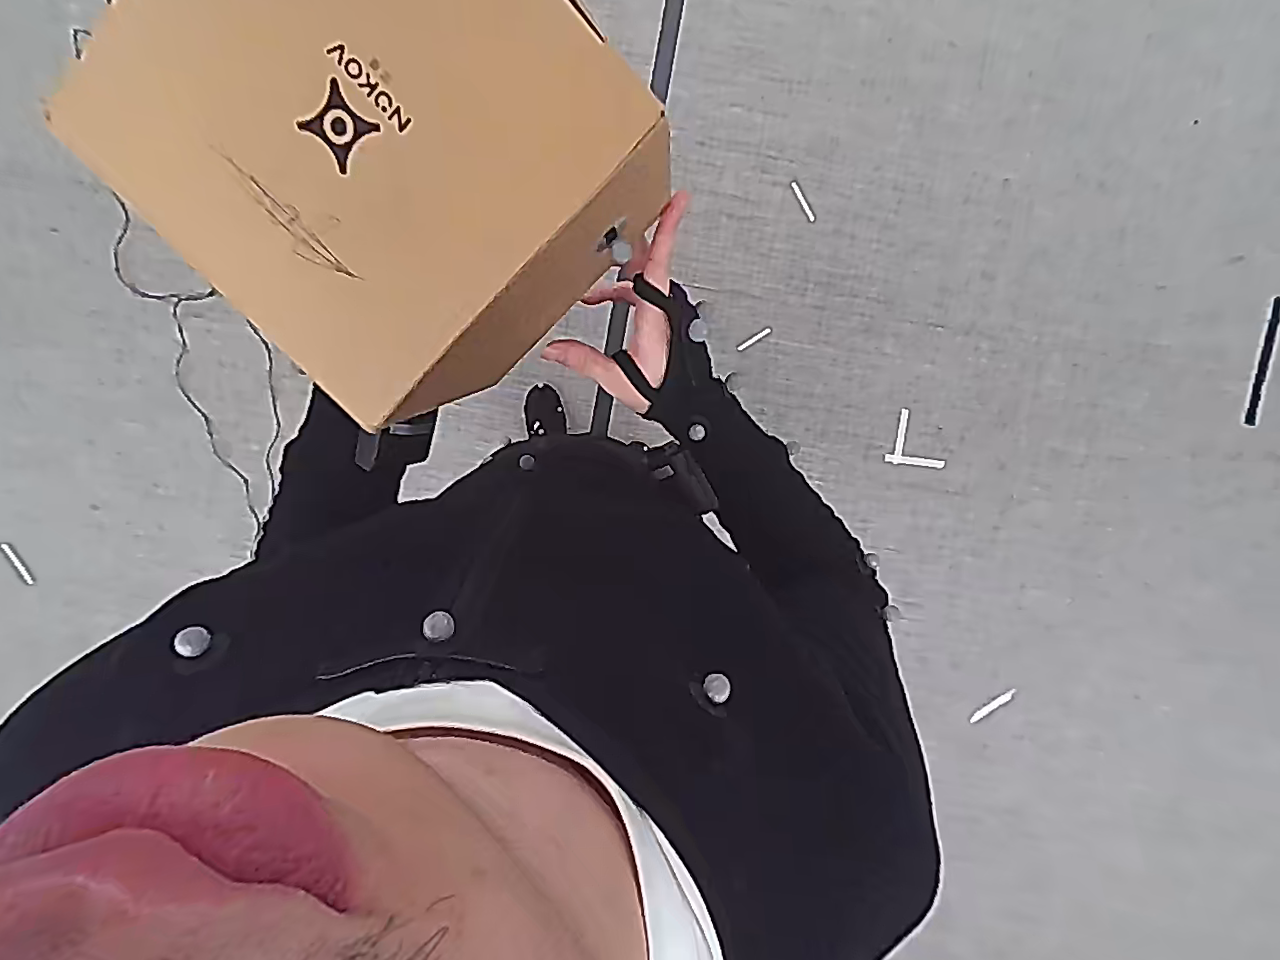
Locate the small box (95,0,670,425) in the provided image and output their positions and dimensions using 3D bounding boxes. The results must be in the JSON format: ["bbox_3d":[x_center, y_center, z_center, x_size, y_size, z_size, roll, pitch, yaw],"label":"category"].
[{"bbox_3d":[-0.101,-0.160,0.288,0.179,0.176,0.168,-43,100,16],"label":"small box"}]
